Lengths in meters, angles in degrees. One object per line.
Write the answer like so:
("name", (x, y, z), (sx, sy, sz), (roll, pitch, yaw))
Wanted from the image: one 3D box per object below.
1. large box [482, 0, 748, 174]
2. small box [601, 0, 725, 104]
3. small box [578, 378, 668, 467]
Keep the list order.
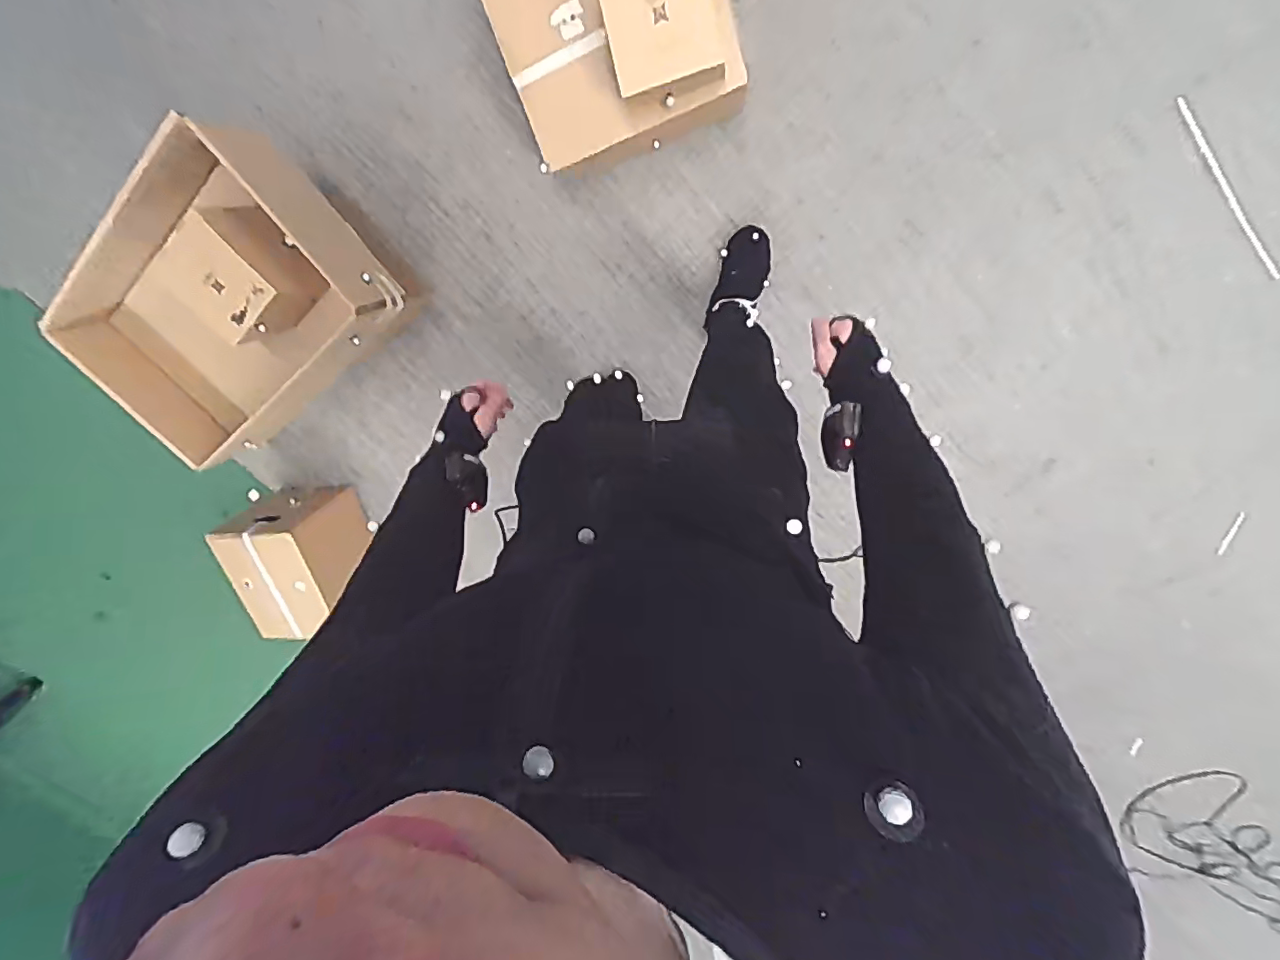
("large box", (-0.025, -0.850, 1.070), (0.408, 0.320, 0.320), (-14, 114, 17))
("small box", (0.038, -0.722, 0.849), (0.168, 0.176, 0.179), (-9, 118, 14))
("small box", (-0.051, -0.160, 1.500), (0.179, 0.176, 0.168), (37, 96, 17))
